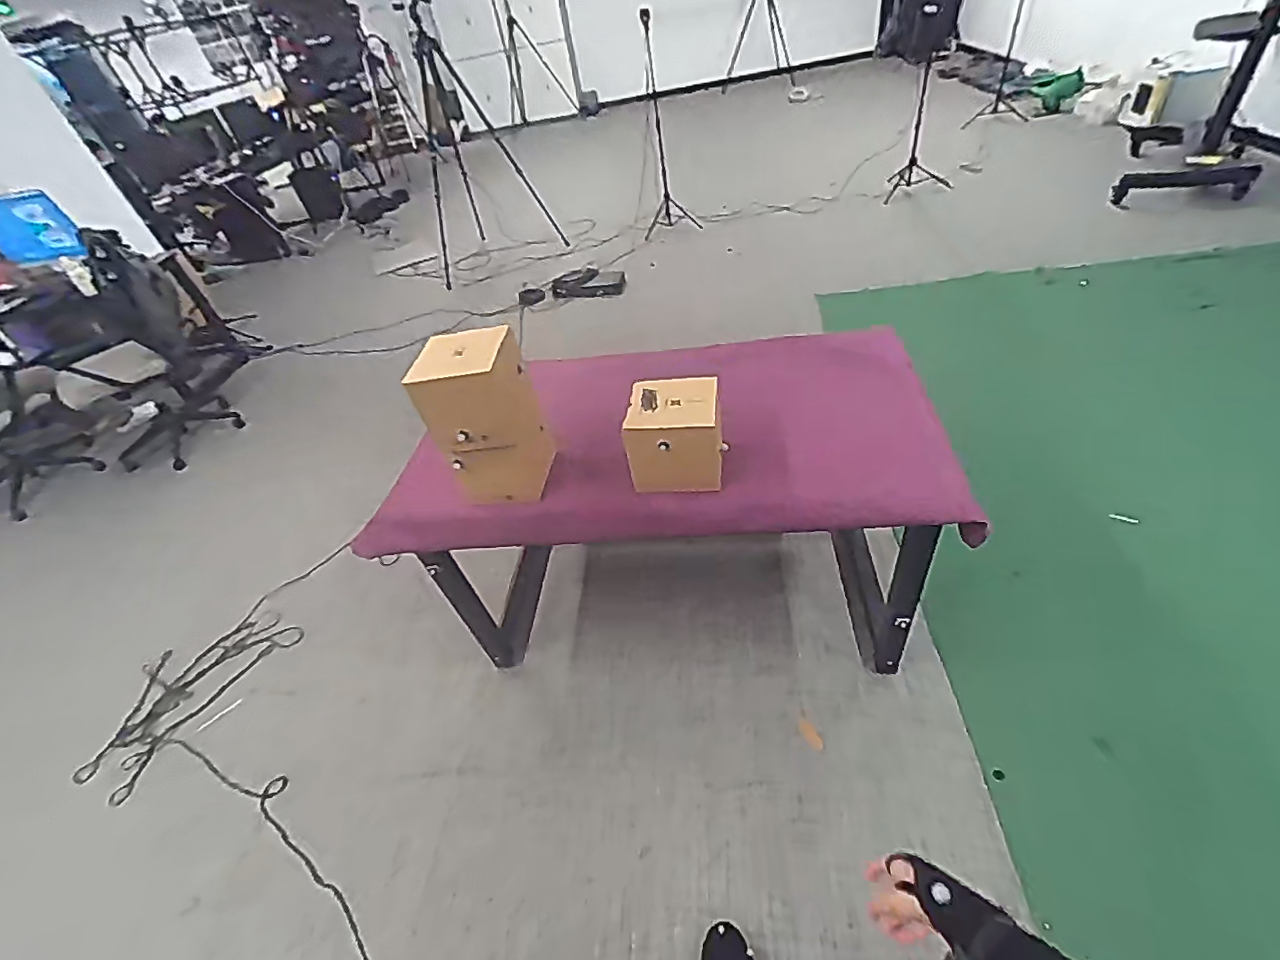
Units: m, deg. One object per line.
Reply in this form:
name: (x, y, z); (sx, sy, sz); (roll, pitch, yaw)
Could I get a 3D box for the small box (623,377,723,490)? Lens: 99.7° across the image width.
small box: (0.075, -0.092, 1.102); (0.179, 0.176, 0.168); (-1, 43, 11)

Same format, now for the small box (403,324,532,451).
small box: (-0.318, -0.177, 1.042); (0.168, 0.176, 0.179); (-6, 42, 7)
